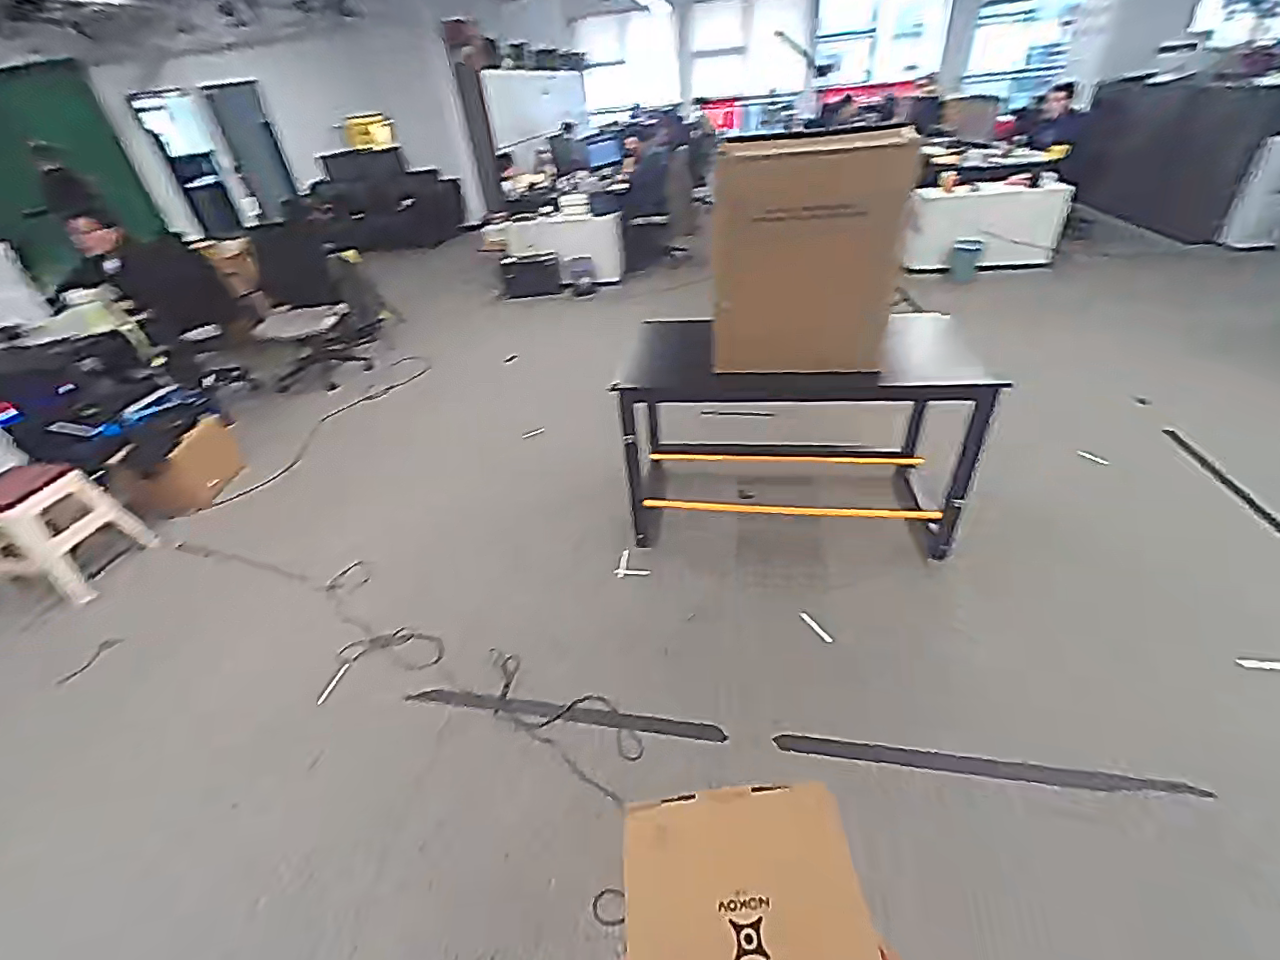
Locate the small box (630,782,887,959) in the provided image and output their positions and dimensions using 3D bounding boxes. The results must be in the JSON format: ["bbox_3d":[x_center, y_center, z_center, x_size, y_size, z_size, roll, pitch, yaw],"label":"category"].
[{"bbox_3d":[0.084,0.360,0.409,0.168,0.176,0.179,-7,40,3],"label":"small box"}]
